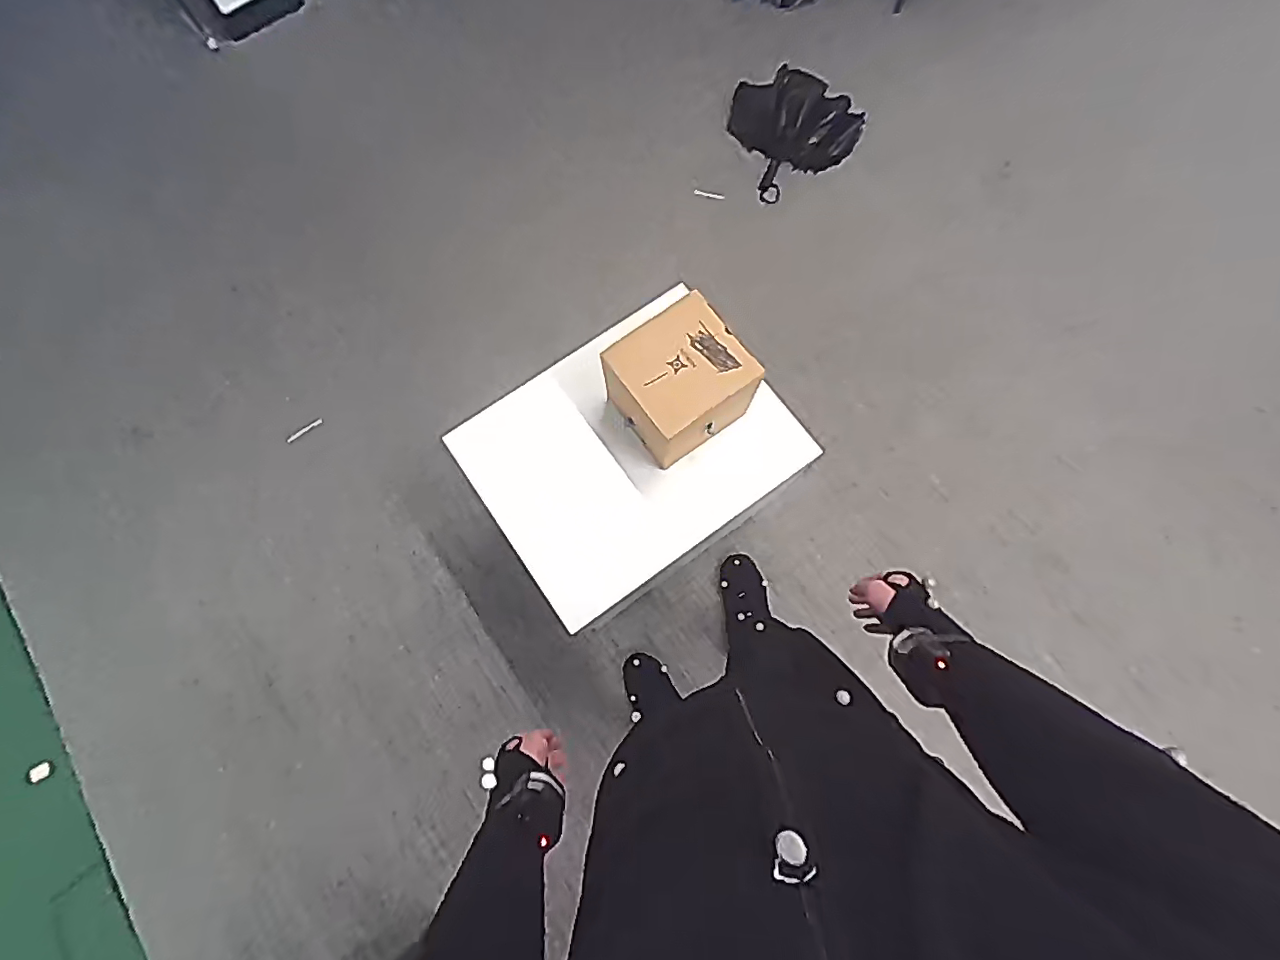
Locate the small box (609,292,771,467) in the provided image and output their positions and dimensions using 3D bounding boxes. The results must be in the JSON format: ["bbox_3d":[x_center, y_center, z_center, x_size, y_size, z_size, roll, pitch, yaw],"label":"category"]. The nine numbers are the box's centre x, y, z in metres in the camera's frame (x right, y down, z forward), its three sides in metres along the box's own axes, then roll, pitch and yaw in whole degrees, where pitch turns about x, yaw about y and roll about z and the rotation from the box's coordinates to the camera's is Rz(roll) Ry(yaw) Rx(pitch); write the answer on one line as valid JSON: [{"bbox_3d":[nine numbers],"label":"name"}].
[{"bbox_3d":[0.068,-0.145,0.833,0.179,0.176,0.168,-34,78,-8],"label":"small box"}]
